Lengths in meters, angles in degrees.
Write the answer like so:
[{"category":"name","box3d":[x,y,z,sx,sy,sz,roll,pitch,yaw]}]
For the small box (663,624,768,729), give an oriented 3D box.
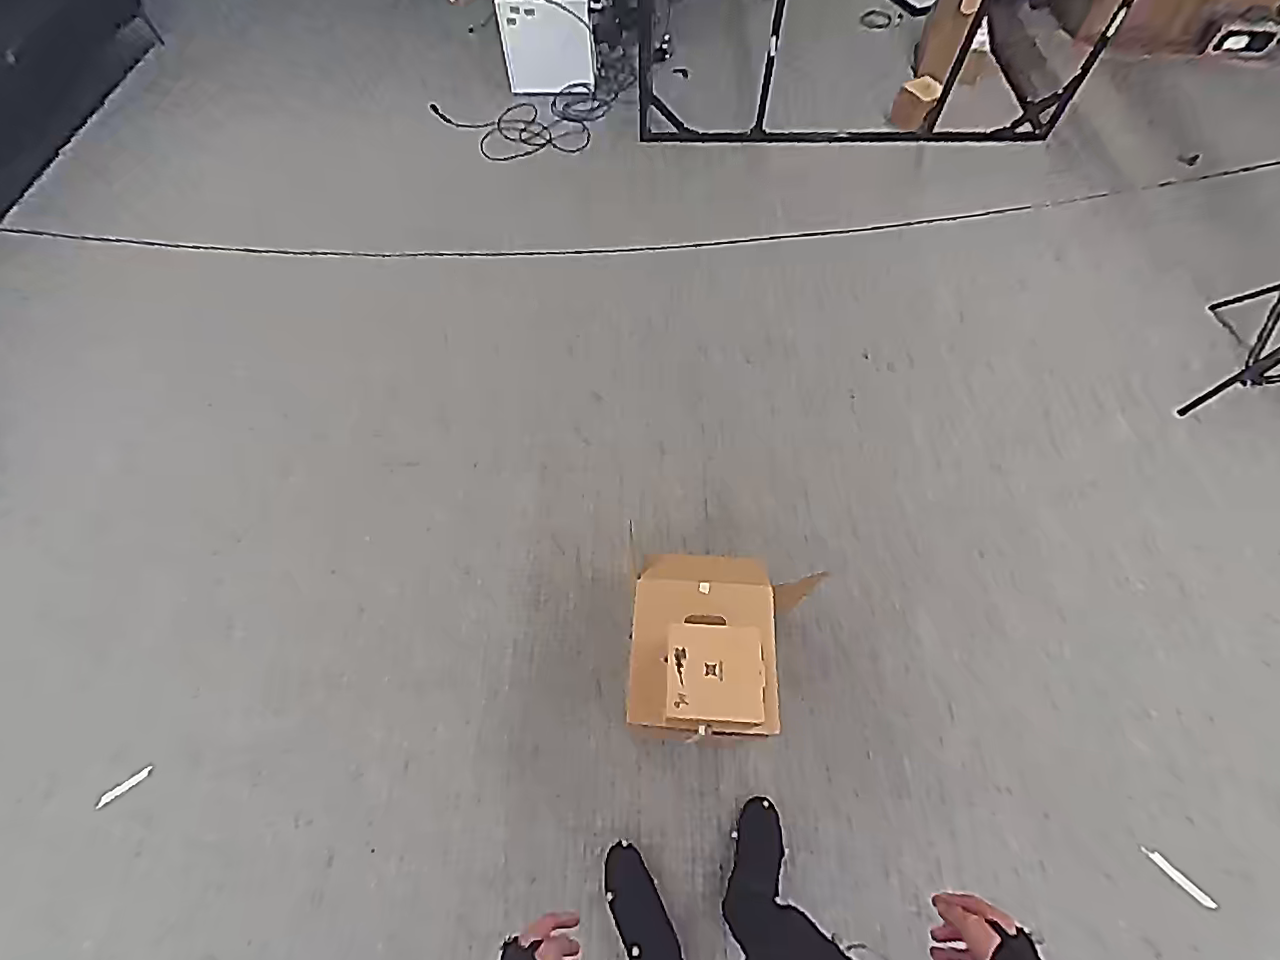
[{"category":"small box","box3d":[0.139,0.382,1.040,0.179,0.176,0.168,3,63,2]}]
